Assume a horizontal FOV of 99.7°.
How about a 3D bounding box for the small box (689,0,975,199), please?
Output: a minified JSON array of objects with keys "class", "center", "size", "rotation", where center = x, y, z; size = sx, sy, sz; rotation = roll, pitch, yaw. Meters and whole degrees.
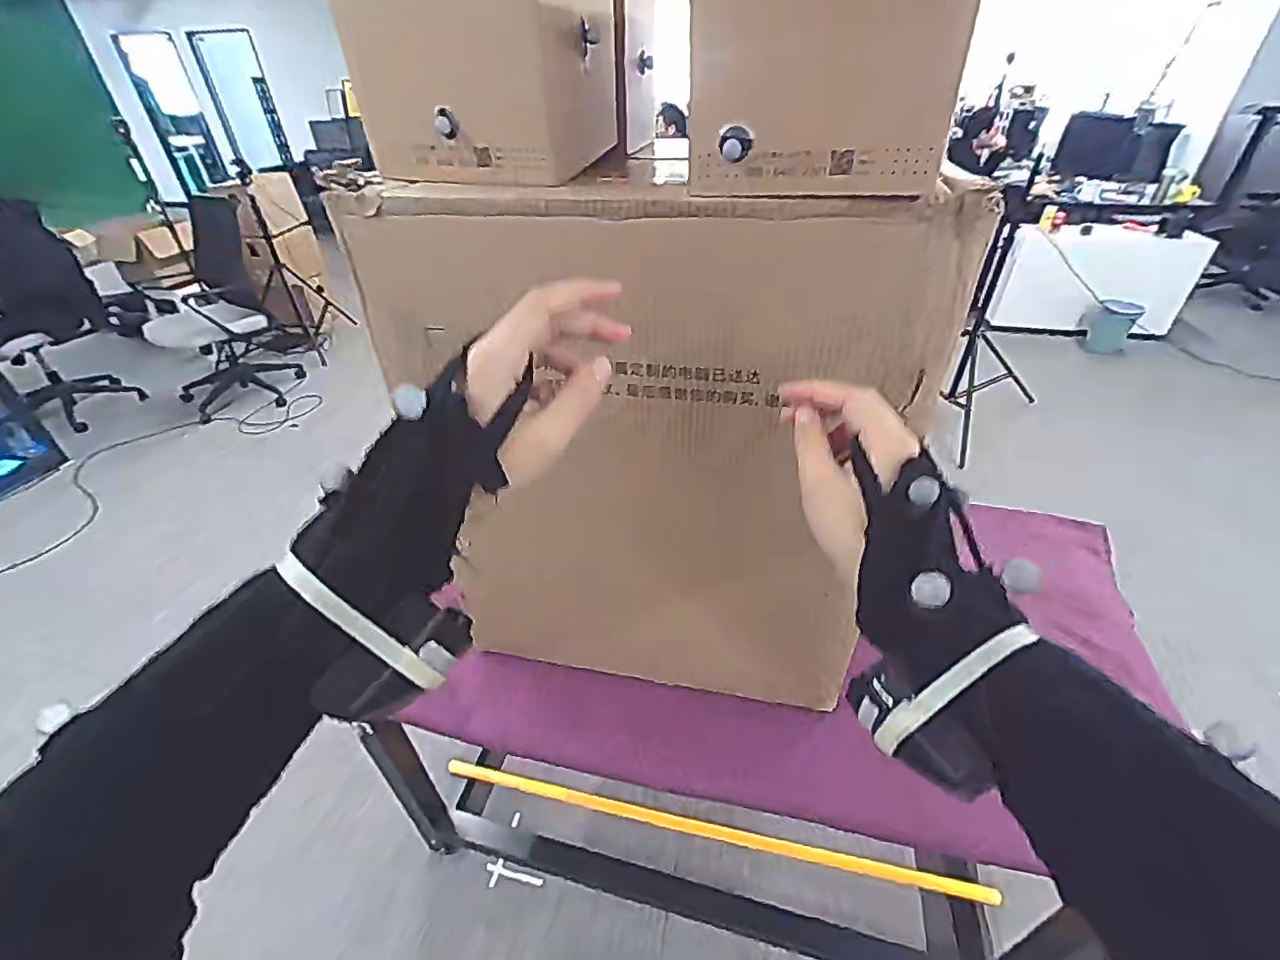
[{"class":"small box","center":[0.132,-0.307,0.389],"size":[0.168,0.176,0.179],"rotation":[7,37,14]}]
